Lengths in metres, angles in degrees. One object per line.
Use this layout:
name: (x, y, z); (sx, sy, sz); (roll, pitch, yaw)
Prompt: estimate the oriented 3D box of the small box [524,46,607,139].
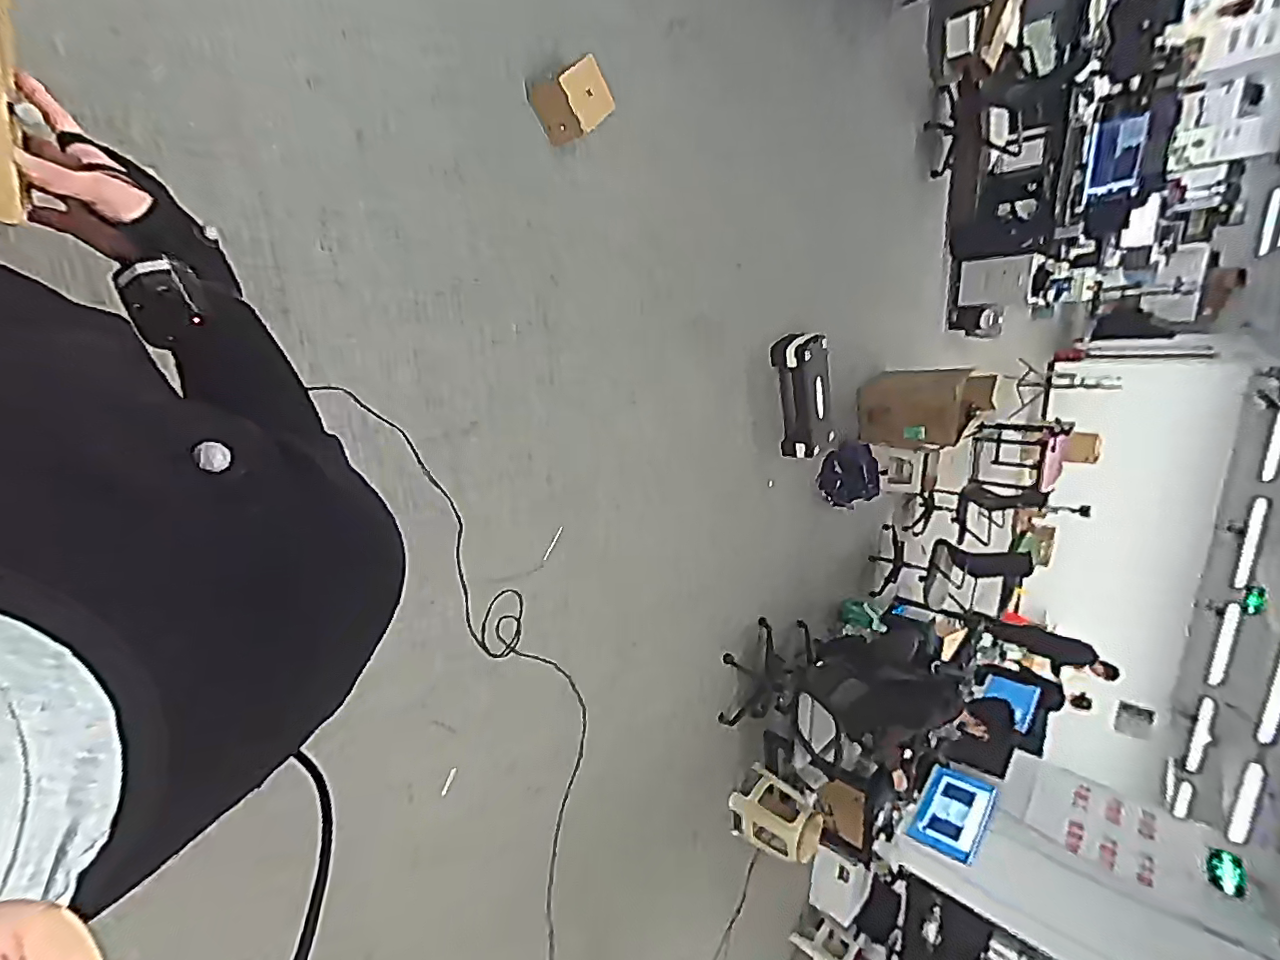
small box: (-0.244, -1.231, 1.730); (0.179, 0.176, 0.168); (-58, 135, -24)
